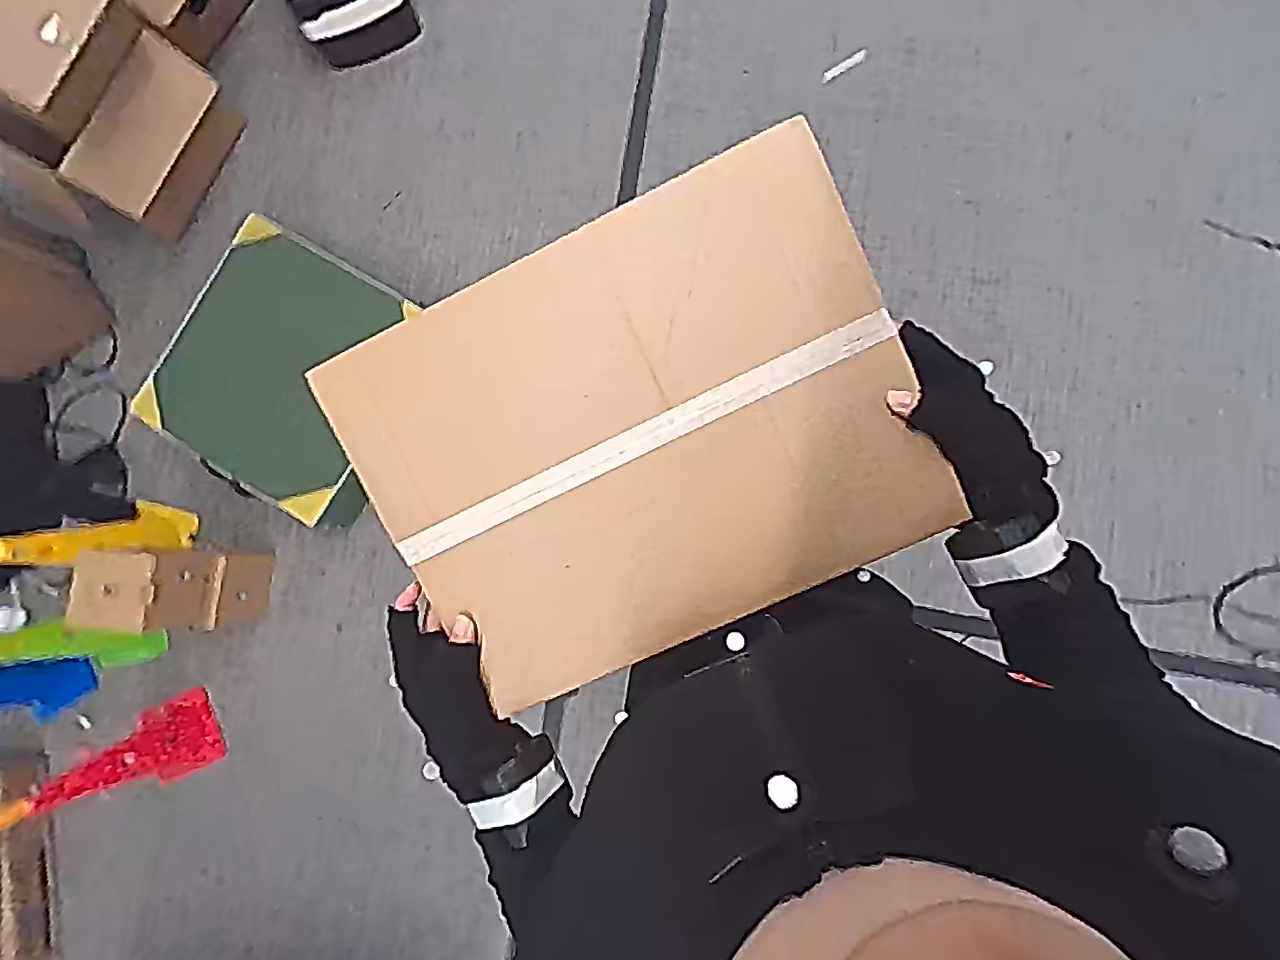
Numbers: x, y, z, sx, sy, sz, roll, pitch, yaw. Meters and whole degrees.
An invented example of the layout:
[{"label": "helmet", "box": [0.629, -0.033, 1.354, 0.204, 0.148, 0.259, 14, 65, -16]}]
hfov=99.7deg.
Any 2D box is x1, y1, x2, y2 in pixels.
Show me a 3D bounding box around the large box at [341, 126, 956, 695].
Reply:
[{"label": "large box", "box": [0.010, -0.053, 0.565, 0.408, 0.320, 0.320, -24, 97, 6]}]
